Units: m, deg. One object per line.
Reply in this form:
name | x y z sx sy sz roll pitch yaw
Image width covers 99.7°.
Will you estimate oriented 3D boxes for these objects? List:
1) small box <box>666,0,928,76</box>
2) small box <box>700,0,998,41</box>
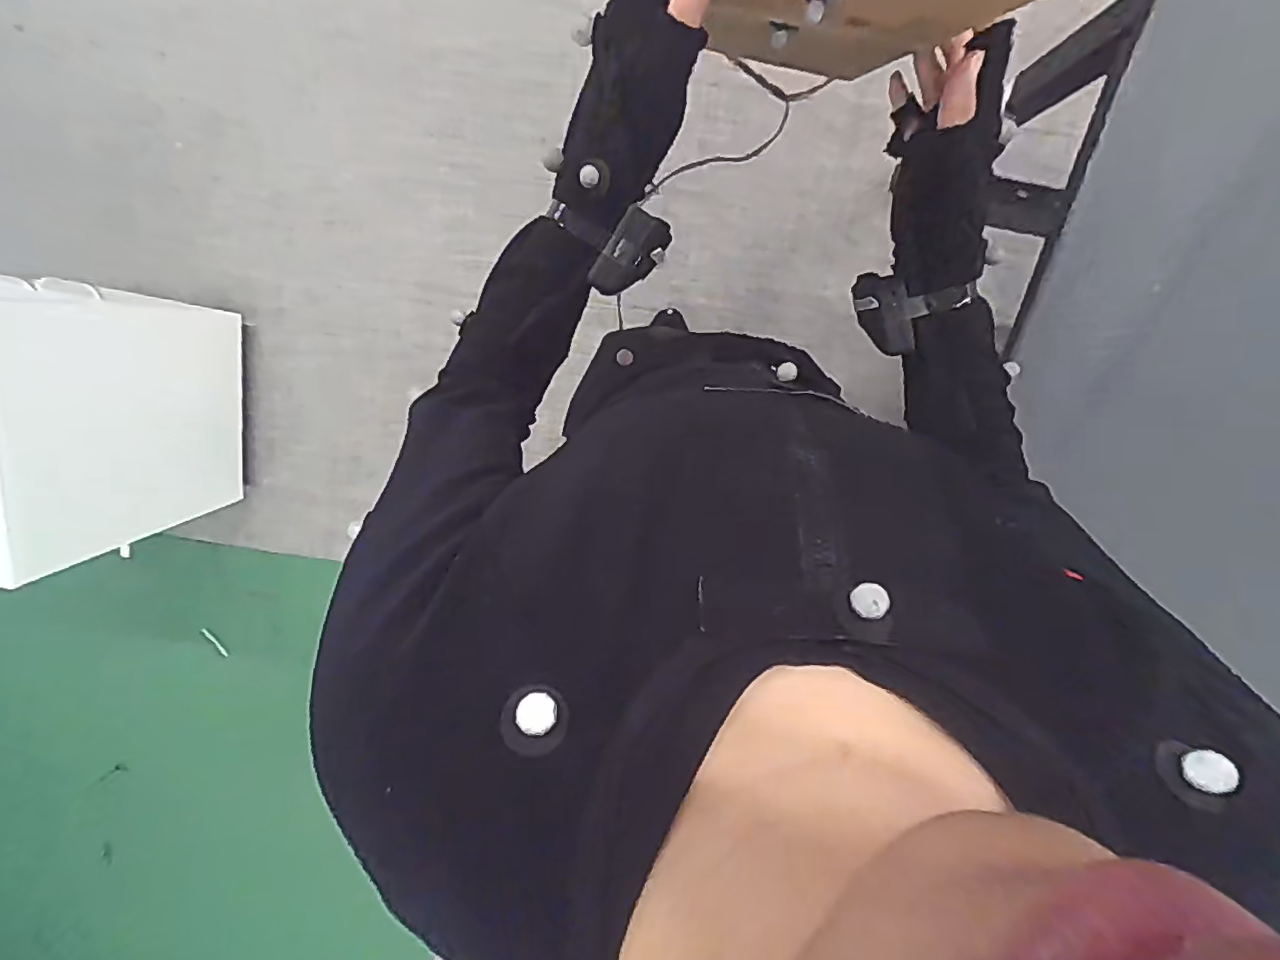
small box | 0.120 -0.414 0.385 0.179 0.176 0.168 7 118 -6
small box | 0.119 -0.336 0.242 0.168 0.176 0.179 6 119 -5
